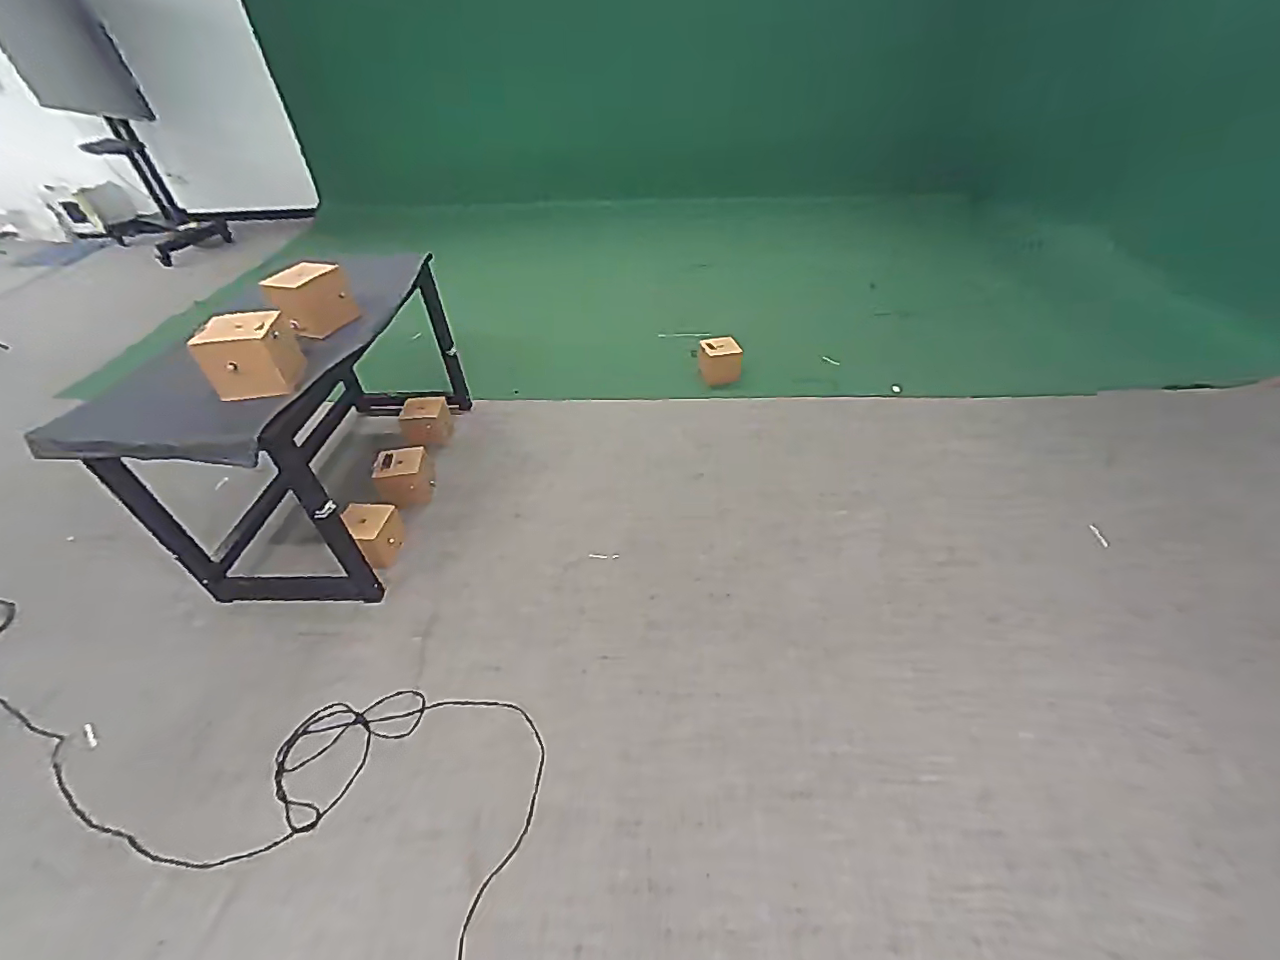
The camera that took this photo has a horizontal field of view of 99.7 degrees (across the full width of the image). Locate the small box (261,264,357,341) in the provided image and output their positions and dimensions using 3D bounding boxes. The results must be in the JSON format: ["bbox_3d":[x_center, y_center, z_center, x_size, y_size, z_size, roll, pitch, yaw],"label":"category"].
[{"bbox_3d":[-1.030,-0.561,1.708,0.168,0.176,0.179,11,46,20],"label":"small box"}]

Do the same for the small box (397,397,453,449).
[{"bbox_3d":[-0.964,-0.256,2.445,0.179,0.176,0.168,-4,42,-1],"label":"small box"}]

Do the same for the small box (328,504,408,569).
[{"bbox_3d":[-0.969,0.207,1.948,0.179,0.176,0.168,2,43,6],"label":"small box"}]

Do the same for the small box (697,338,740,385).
[{"bbox_3d":[0.395,-0.599,2.739,0.179,0.176,0.168,-10,43,-9],"label":"small box"}]

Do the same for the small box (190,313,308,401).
[{"bbox_3d":[-1.036,-0.327,1.451,0.179,0.176,0.168,-9,43,-6],"label":"small box"}]
